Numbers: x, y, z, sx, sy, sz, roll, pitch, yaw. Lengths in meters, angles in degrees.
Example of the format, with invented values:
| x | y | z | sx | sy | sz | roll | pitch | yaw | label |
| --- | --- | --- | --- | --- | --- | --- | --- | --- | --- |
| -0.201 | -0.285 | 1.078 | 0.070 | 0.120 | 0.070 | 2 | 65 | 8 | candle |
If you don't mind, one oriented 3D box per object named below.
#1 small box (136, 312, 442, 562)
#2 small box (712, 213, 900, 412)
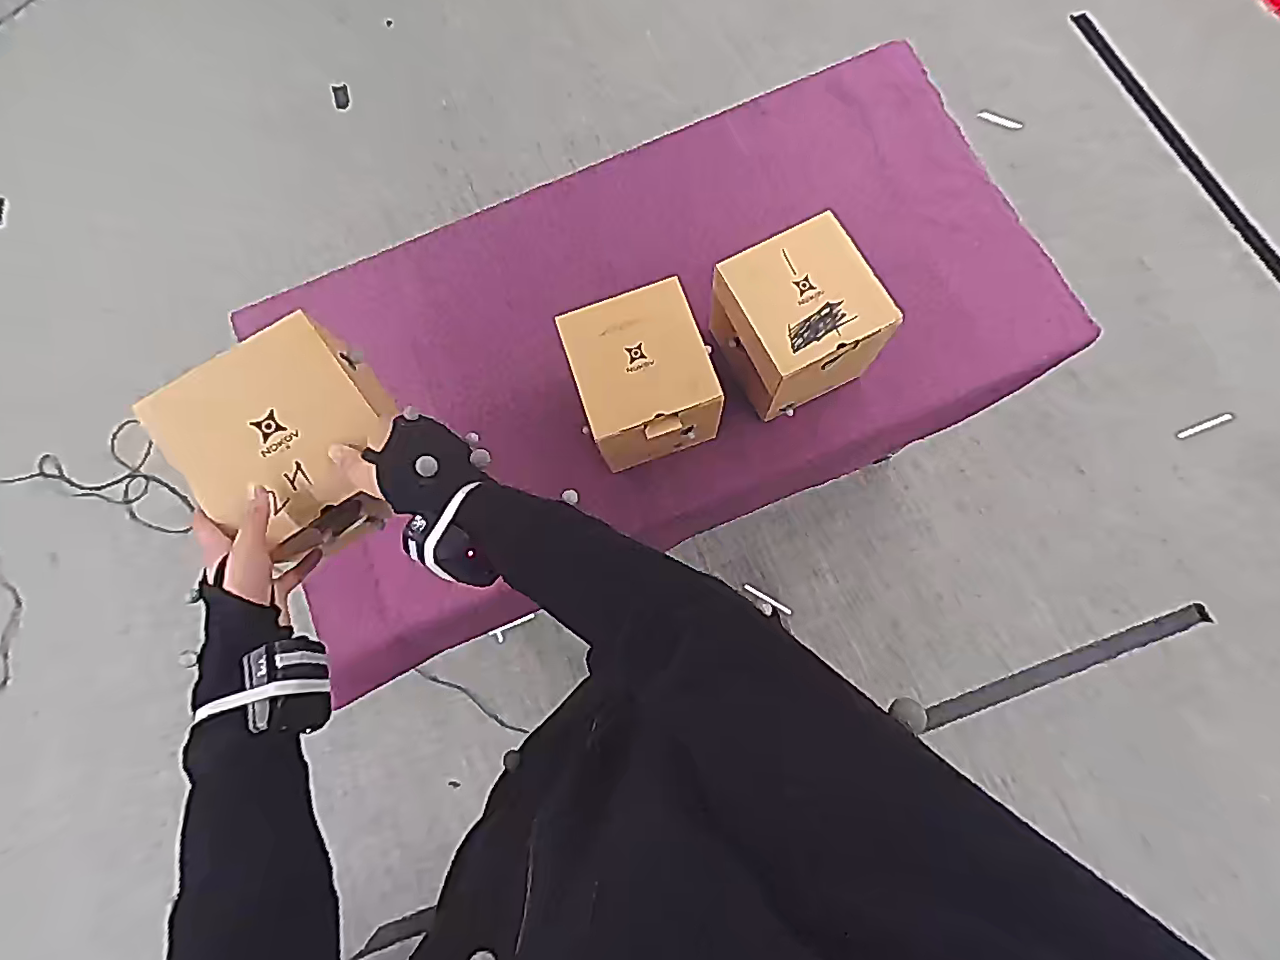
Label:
| x | y | z | sx | sy | sz | roll | pitch | yaw | label |
| --- | --- | --- | --- | --- | --- | --- | --- | --- | --- |
| -0.335 | -0.033 | 0.559 | 0.168 | 0.176 | 0.179 | -36 | 90 | -9 | small box |
| 0.210 | -0.211 | 0.738 | 0.168 | 0.176 | 0.179 | -26 | 76 | -1 | small box |
